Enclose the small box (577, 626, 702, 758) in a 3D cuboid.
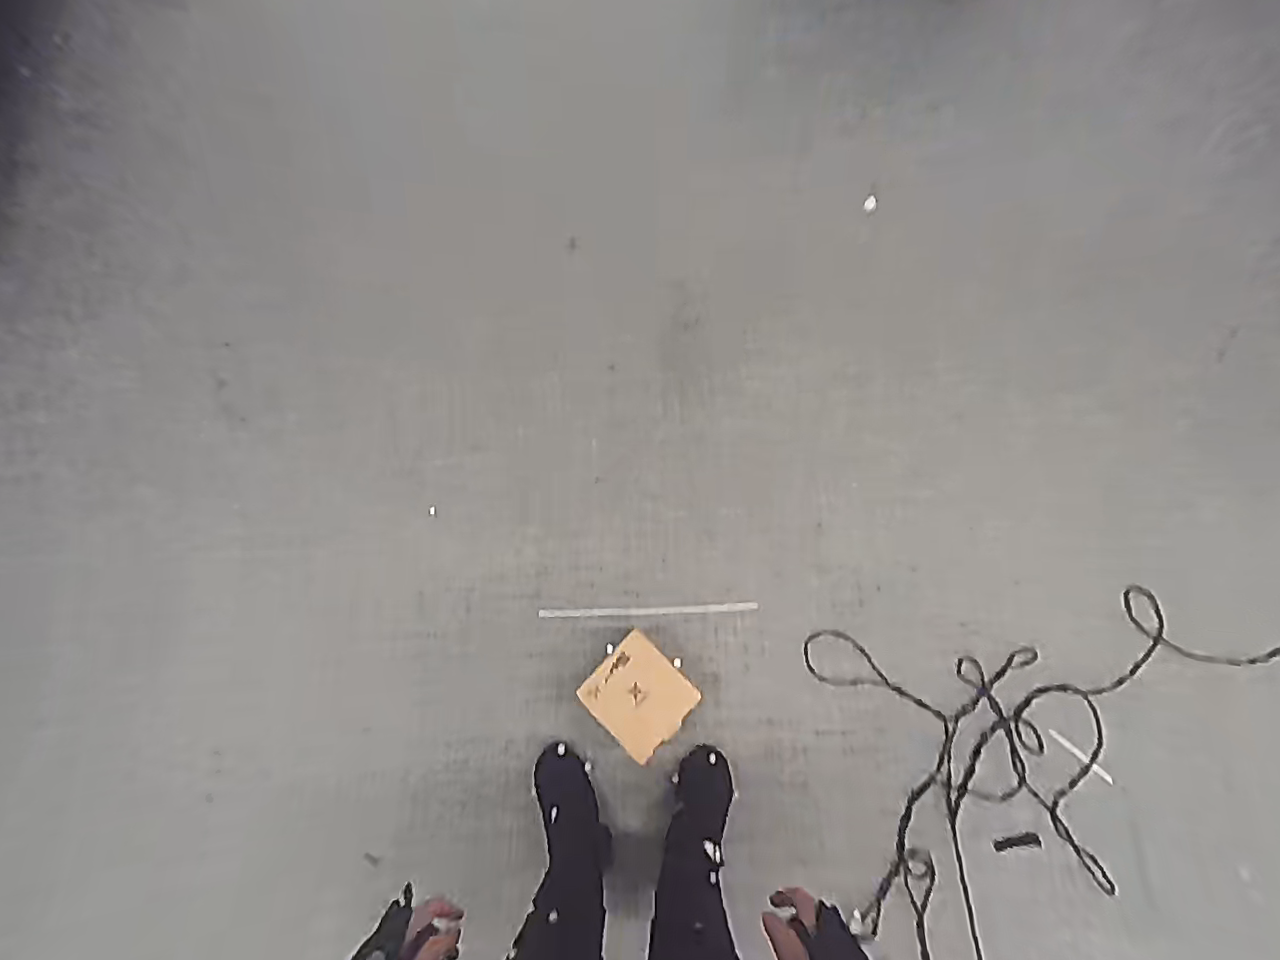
[{"bbox_3d":[0.003,0.404,1.072,0.179,0.176,0.168,43,81,12],"label":"small box"}]
